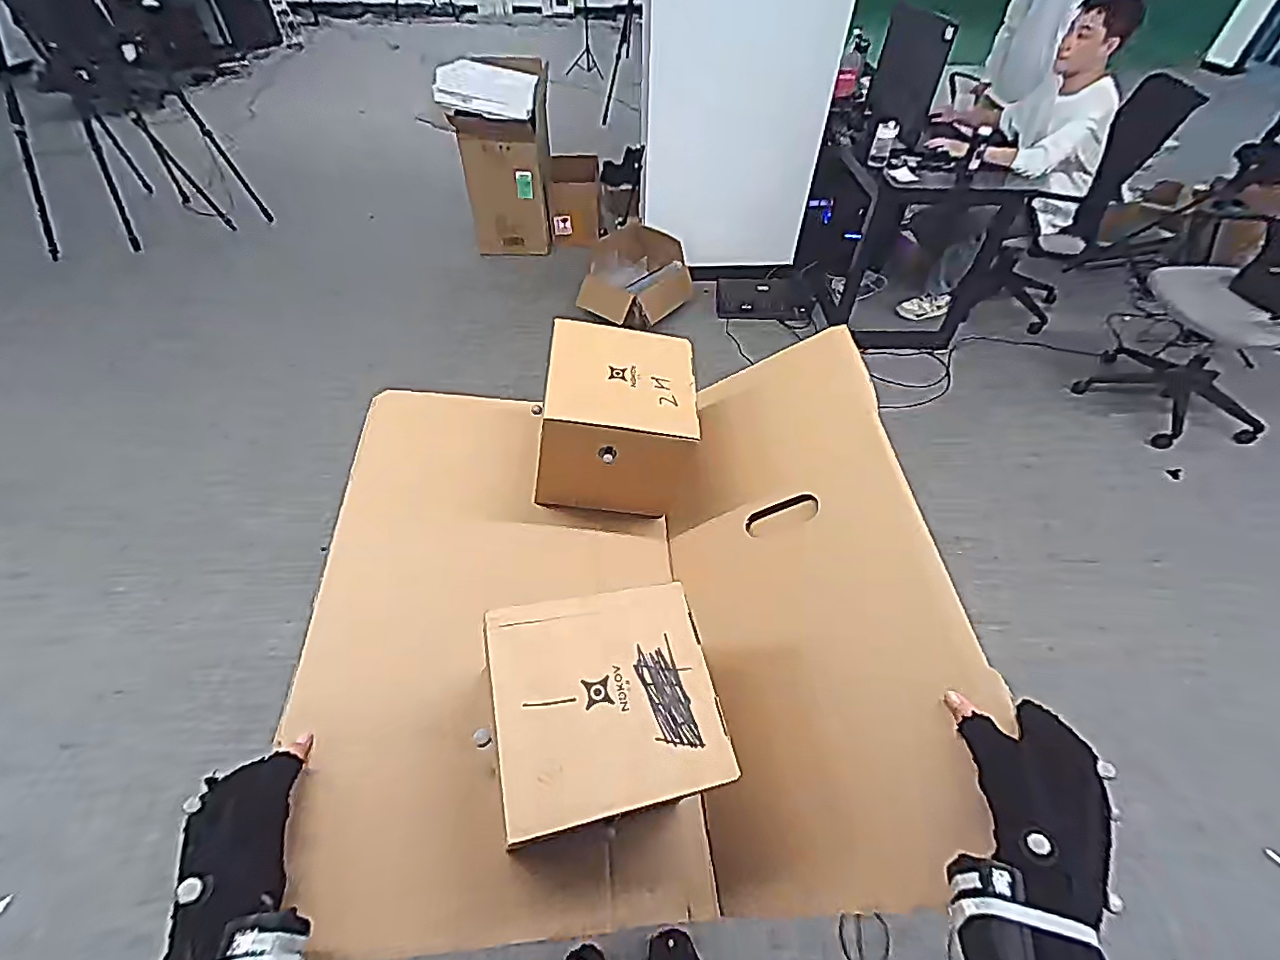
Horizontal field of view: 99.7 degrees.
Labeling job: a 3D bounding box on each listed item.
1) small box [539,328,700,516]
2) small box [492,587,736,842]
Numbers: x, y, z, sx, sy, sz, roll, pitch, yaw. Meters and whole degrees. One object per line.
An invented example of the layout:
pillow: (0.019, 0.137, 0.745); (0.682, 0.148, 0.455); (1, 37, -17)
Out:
small box: (-0.033, -0.067, 0.703); (0.179, 0.176, 0.168); (8, 54, -10)
small box: (-0.040, 0.216, 0.499); (0.179, 0.176, 0.168); (-5, 57, -18)
